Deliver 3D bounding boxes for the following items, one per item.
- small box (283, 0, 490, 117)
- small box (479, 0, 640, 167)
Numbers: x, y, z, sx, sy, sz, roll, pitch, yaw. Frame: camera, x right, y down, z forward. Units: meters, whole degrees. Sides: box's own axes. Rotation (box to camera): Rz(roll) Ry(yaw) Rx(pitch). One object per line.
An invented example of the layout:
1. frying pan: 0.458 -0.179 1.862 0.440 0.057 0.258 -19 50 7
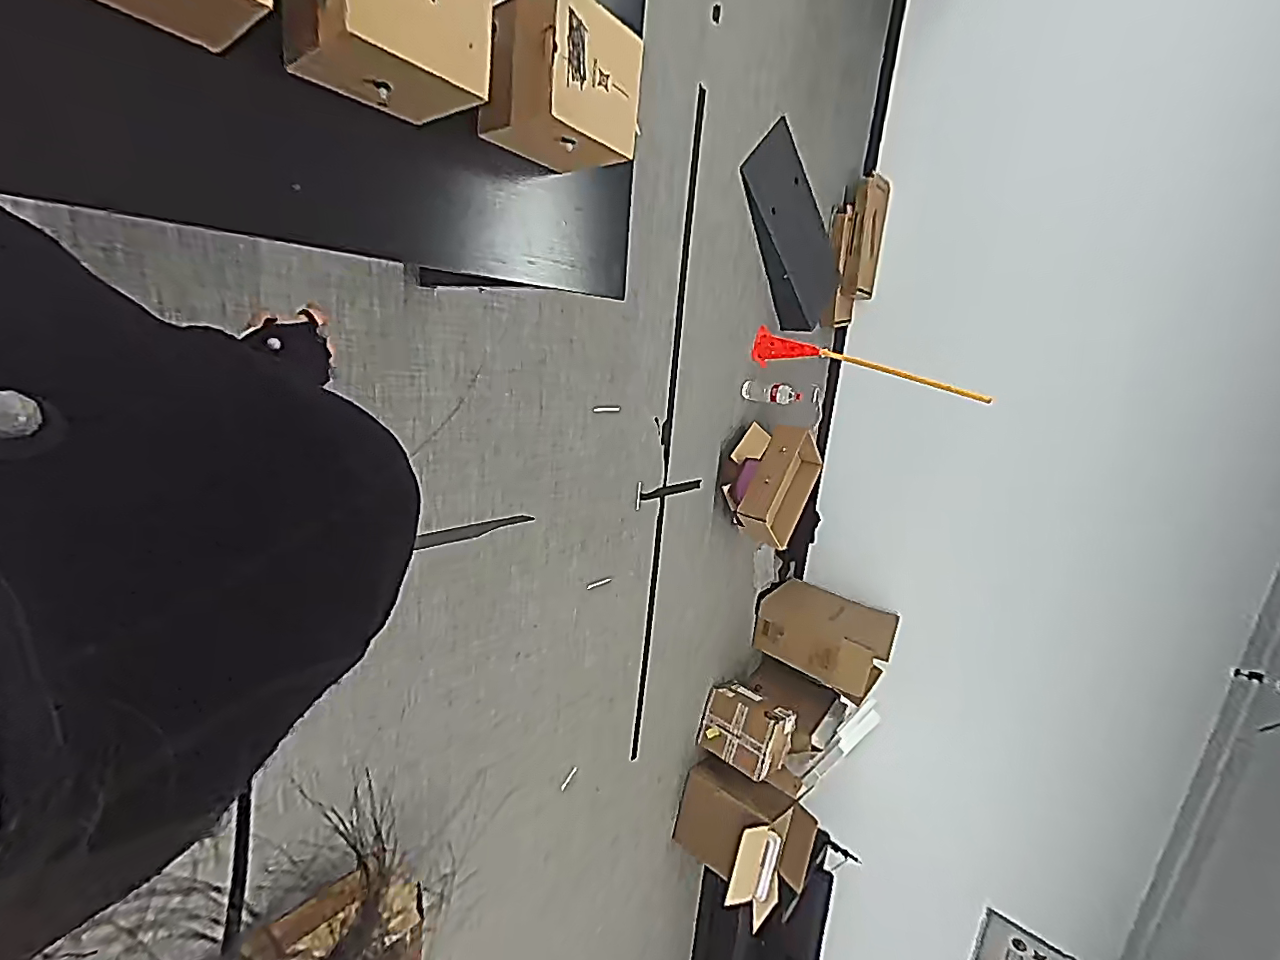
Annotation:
1. small box: -0.294 -0.555 0.627 0.168 0.176 0.179 -10 110 -50
2. small box: -0.125 -0.598 0.822 0.179 0.176 0.168 -10 110 -50
